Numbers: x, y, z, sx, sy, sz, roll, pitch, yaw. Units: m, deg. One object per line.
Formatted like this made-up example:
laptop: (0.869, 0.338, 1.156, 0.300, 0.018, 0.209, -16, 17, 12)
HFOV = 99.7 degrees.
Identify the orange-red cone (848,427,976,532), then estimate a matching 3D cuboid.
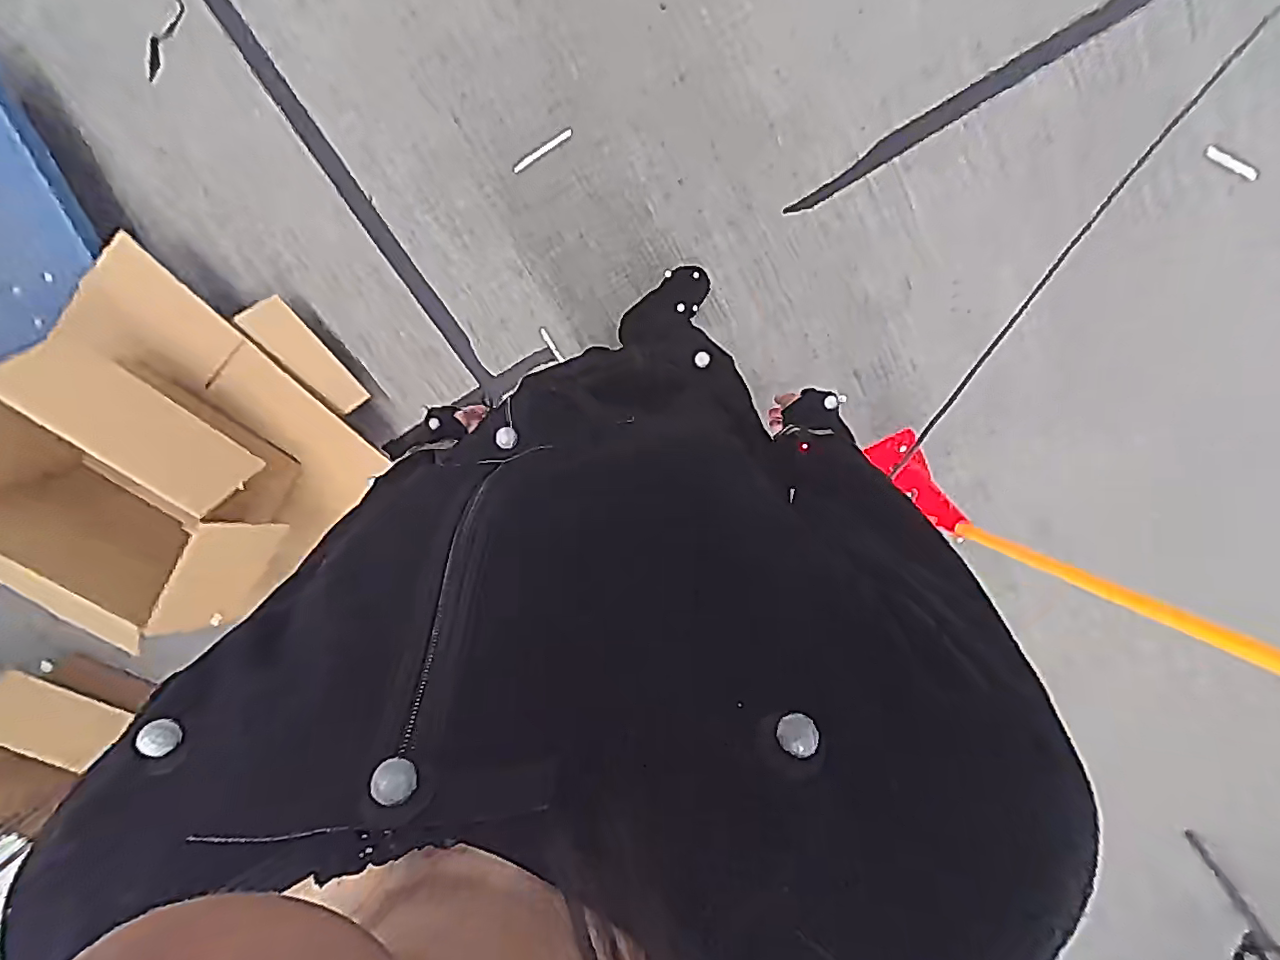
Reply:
orange-red cone: (0.668, 0.035, 1.270, 0.199, 0.360, 0.198, -26, 107, 9)
